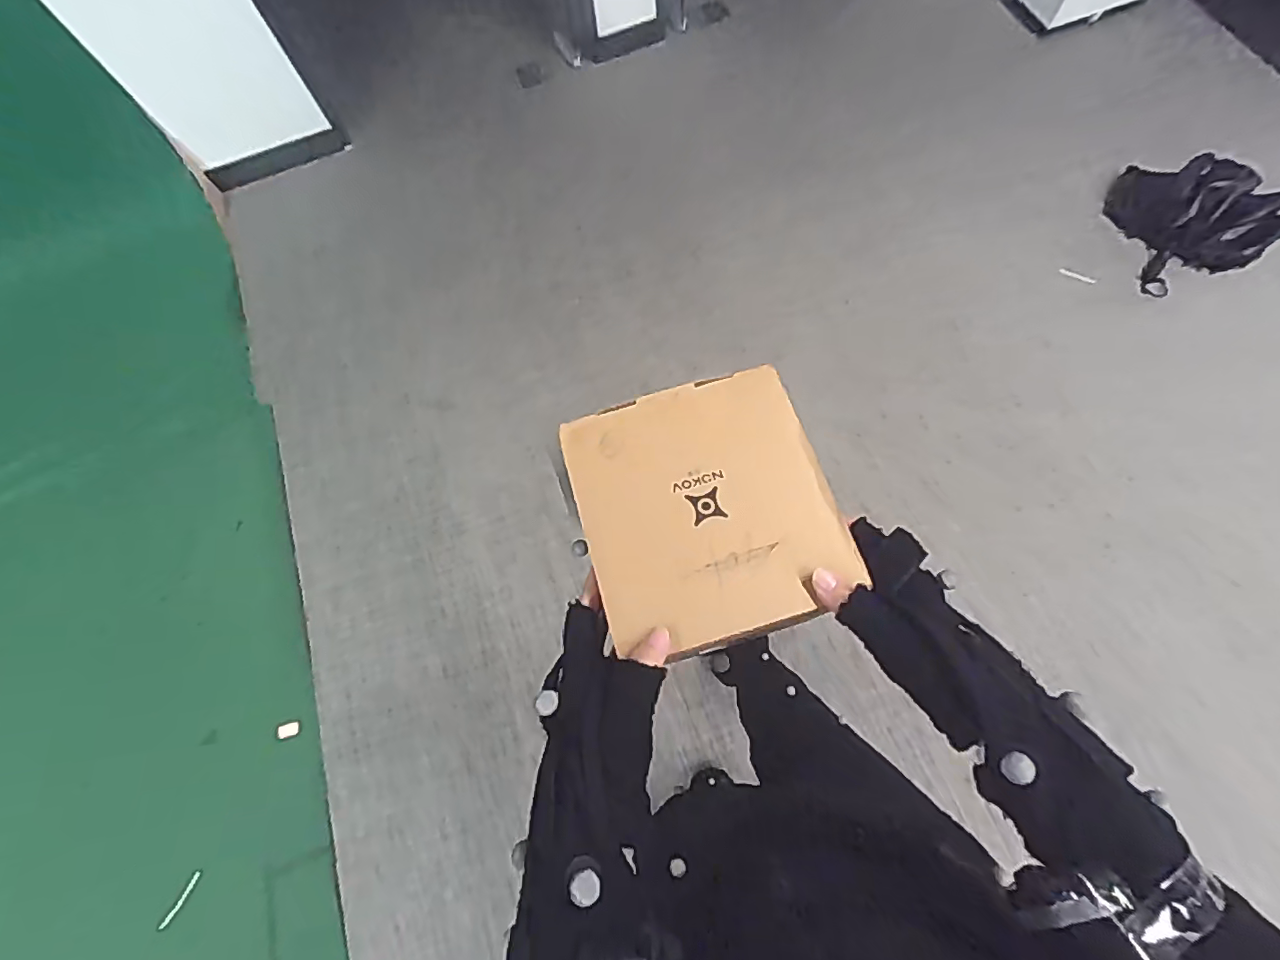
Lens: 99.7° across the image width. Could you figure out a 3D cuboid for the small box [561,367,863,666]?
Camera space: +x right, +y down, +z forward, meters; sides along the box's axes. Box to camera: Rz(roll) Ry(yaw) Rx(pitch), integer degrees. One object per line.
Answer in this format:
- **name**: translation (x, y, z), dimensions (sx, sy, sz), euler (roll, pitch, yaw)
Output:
- **small box**: translation (0.044, 0.041, 0.442), dimensions (0.168, 0.176, 0.179), euler (-16, 69, -3)
